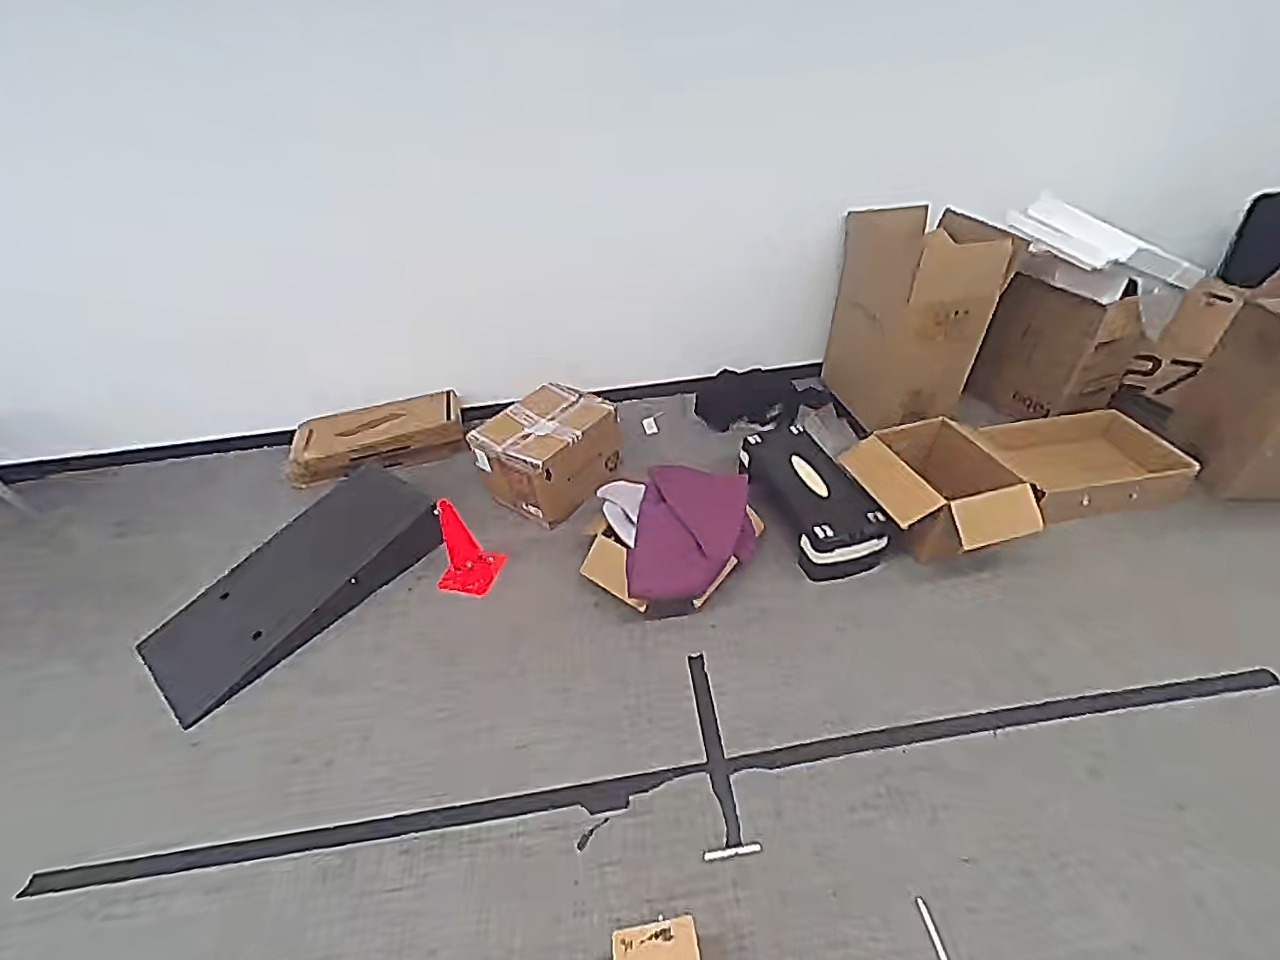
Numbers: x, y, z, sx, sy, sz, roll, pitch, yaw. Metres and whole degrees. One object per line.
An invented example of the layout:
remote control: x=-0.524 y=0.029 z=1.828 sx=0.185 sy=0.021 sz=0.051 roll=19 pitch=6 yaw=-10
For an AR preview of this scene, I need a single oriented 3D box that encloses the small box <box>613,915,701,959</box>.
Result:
small box: x=0.044 y=0.993 z=1.061 sx=0.168 sy=0.176 sz=0.179 roll=-9 pitch=41 yaw=-3
